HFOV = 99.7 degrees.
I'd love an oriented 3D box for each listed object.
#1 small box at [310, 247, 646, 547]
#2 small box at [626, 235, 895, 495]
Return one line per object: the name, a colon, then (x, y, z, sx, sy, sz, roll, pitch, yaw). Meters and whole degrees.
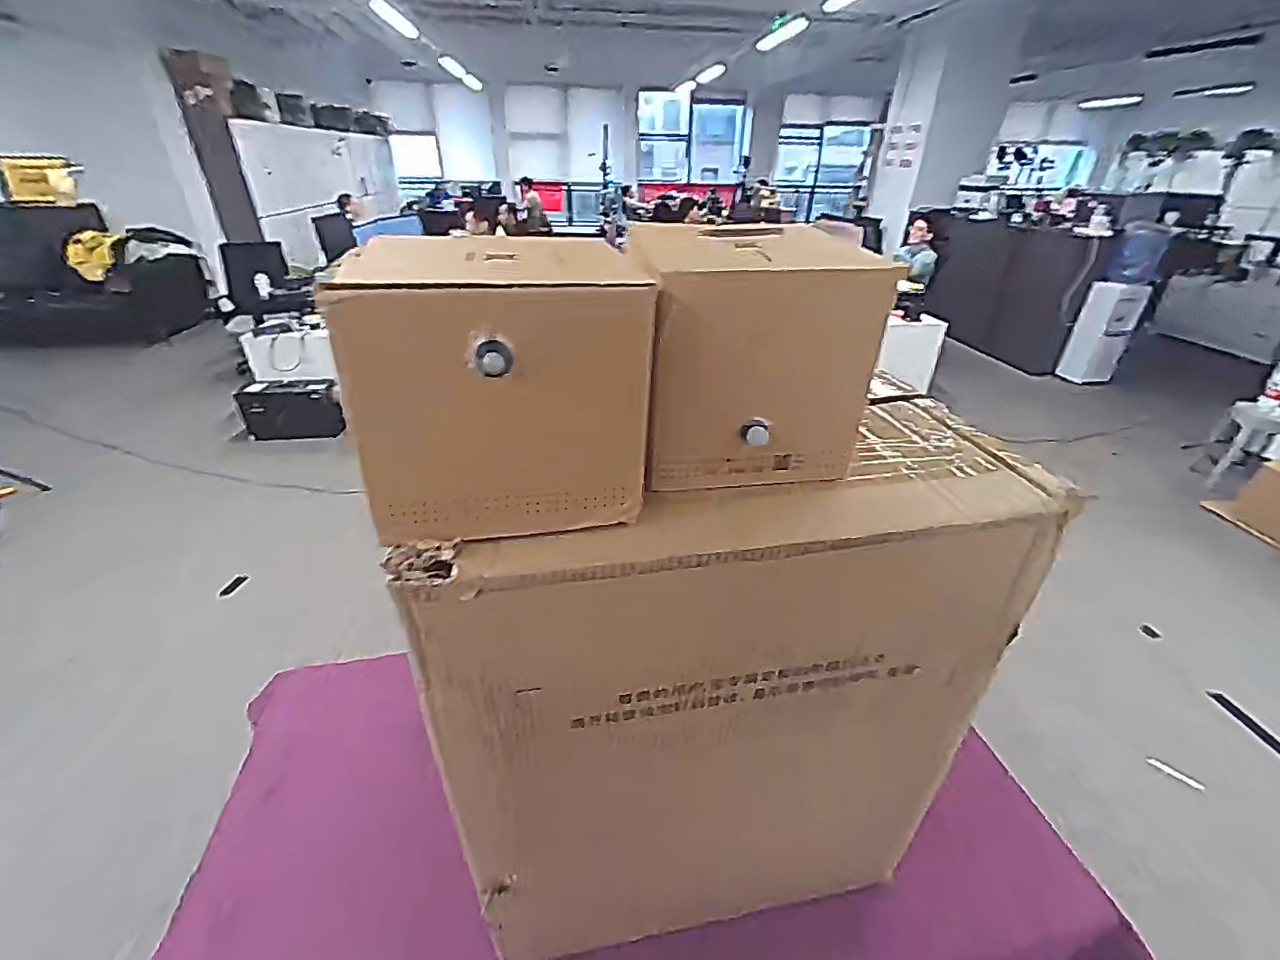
small box: (-0.100, -0.066, 0.389, 0.179, 0.176, 0.168, -4, 31, -13)
small box: (0.075, -0.104, 0.459, 0.168, 0.176, 0.179, -4, 33, -7)
